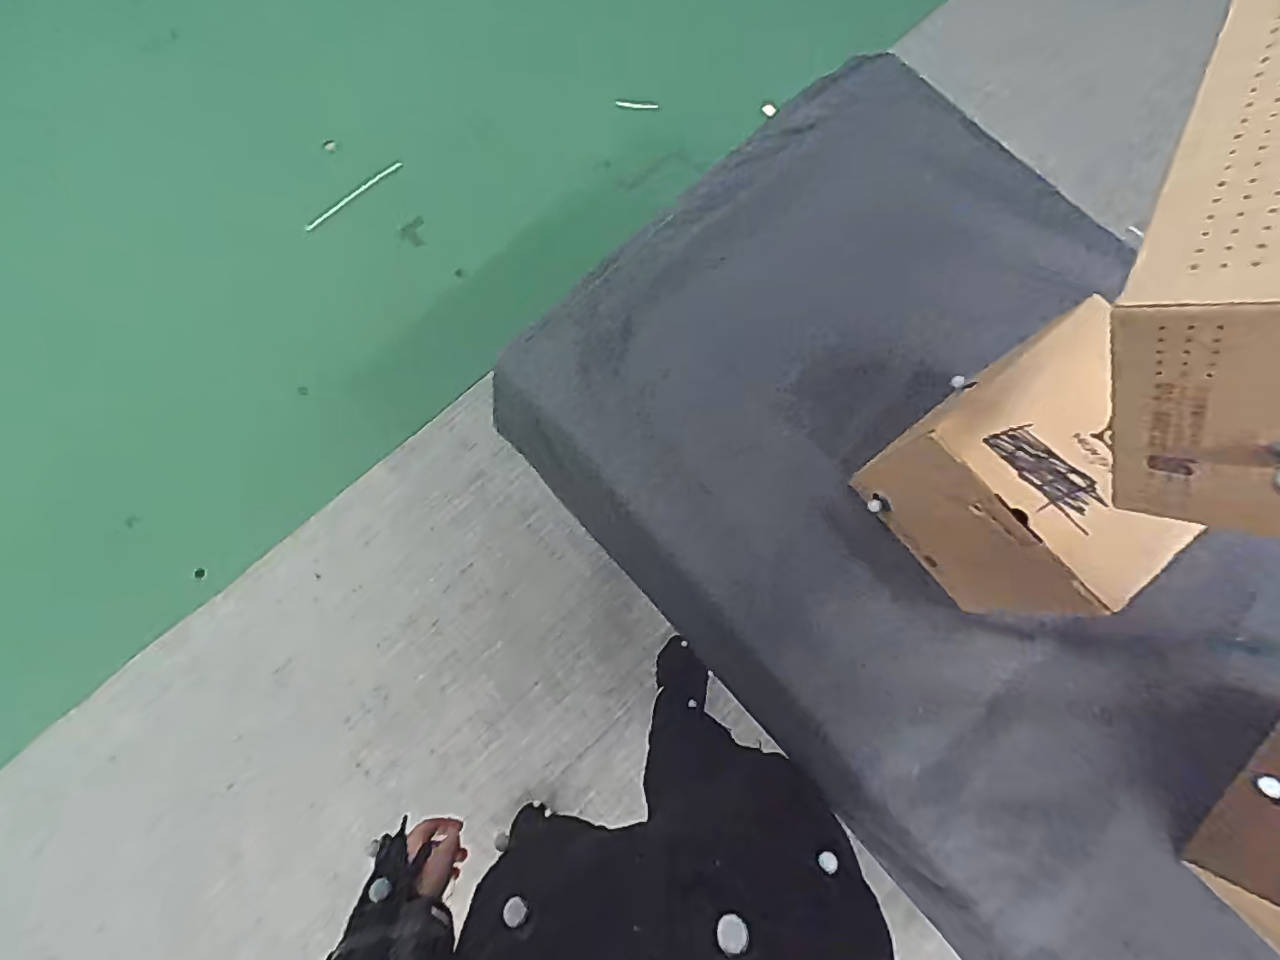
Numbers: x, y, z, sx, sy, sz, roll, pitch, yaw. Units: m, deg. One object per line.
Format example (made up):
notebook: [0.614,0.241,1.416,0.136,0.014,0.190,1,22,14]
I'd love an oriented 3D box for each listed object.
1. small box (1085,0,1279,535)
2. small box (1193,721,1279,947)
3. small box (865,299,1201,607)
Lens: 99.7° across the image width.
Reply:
small box: [0.282,-0.081,0.185,0.176,0.168,0.179,17,77,46]
small box: [0.574,0.303,0.385,0.179,0.176,0.168,-43,80,-8]
small box: [0.322,-0.007,0.461,0.179,0.176,0.168,-37,79,-8]
